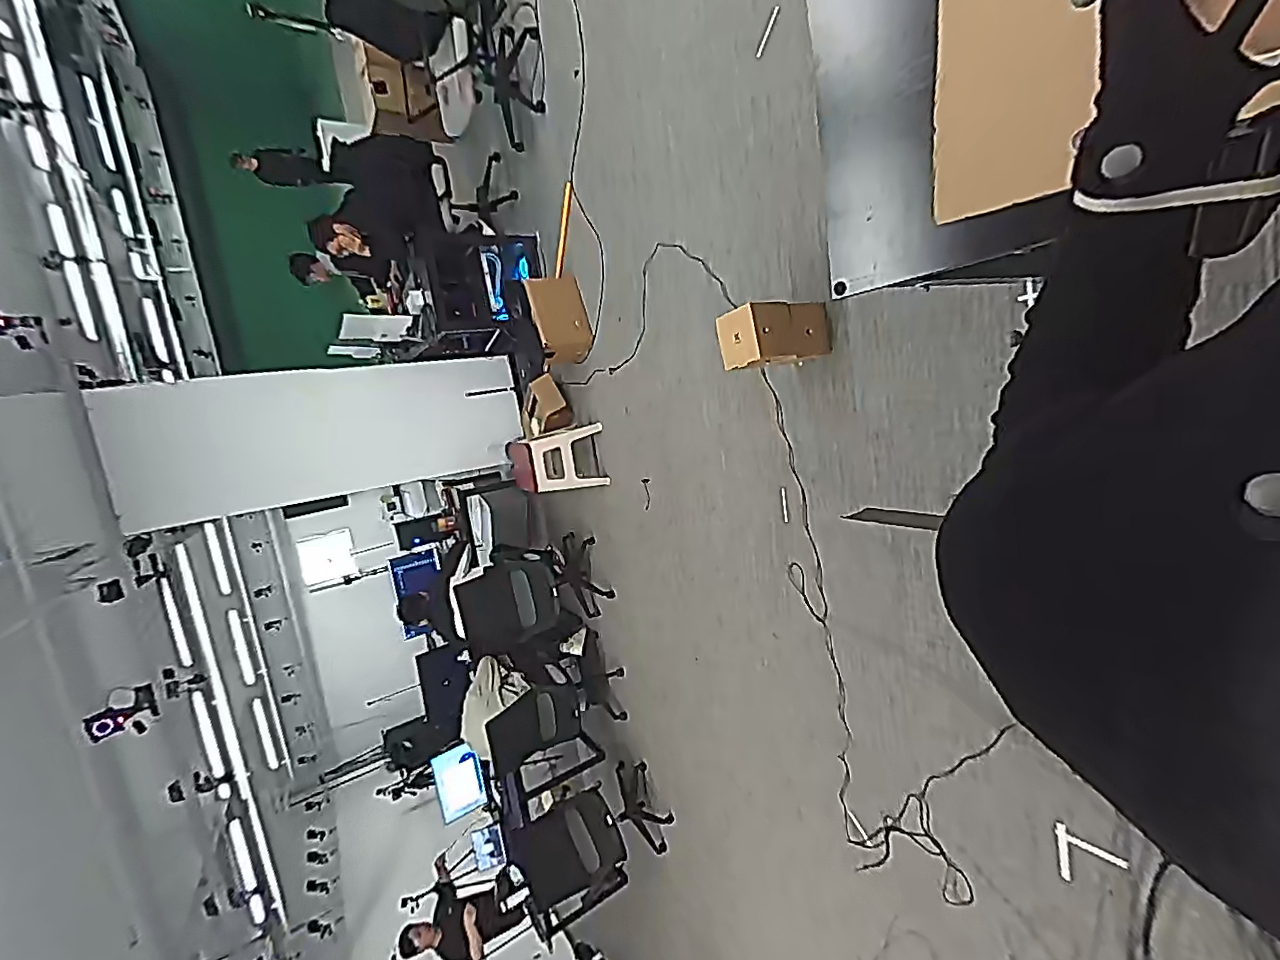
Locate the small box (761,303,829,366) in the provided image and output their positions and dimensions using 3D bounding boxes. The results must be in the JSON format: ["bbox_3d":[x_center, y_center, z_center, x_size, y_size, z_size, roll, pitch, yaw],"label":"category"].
[{"bbox_3d":[0.509,-0.489,1.818,0.168,0.176,0.179,-2,101,59],"label":"small box"}]

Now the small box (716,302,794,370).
[{"bbox_3d":[0.372,-0.462,1.735,0.168,0.176,0.179,-8,94,58],"label":"small box"}]
